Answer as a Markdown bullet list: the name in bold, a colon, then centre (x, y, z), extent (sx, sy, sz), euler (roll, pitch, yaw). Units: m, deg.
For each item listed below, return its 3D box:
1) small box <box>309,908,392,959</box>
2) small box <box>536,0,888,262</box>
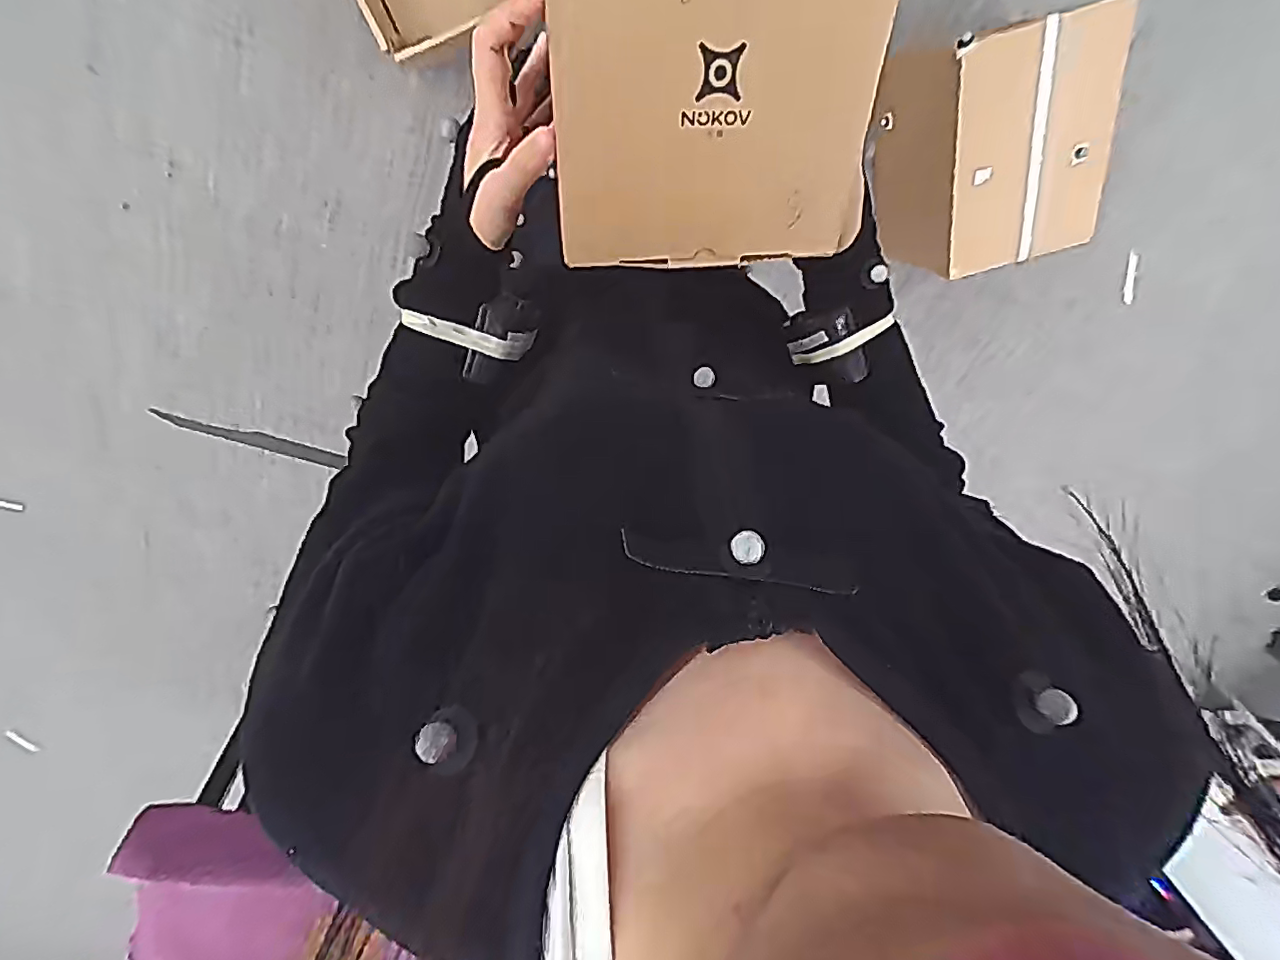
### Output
- **small box**: centre (-0.732, 1.197, 1.342), extent (0.168, 0.176, 0.179), euler (17, 119, -18)
- **small box**: centre (0.025, -0.251, 0.324), extent (0.168, 0.176, 0.179), euler (-6, 132, -6)
